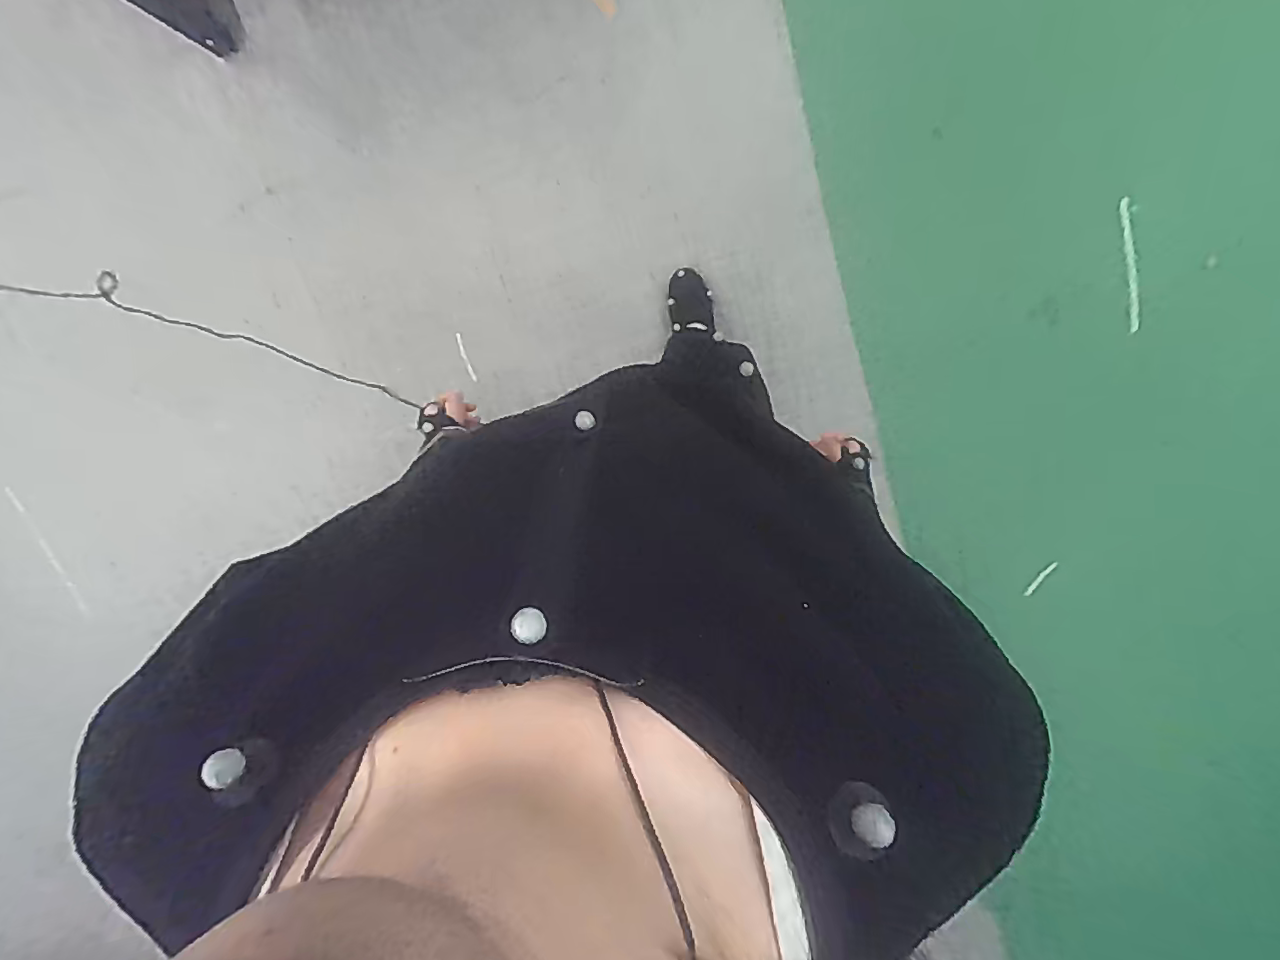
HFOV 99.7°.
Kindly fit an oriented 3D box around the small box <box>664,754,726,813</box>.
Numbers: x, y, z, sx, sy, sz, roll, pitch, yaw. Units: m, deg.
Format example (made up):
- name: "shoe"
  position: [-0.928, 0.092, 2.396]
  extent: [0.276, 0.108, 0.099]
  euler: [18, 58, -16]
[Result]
- name: "small box"
  position: [0.170, 0.970, 1.656]
  extent: [0.168, 0.176, 0.179]
  euler: [-15, 104, 7]
